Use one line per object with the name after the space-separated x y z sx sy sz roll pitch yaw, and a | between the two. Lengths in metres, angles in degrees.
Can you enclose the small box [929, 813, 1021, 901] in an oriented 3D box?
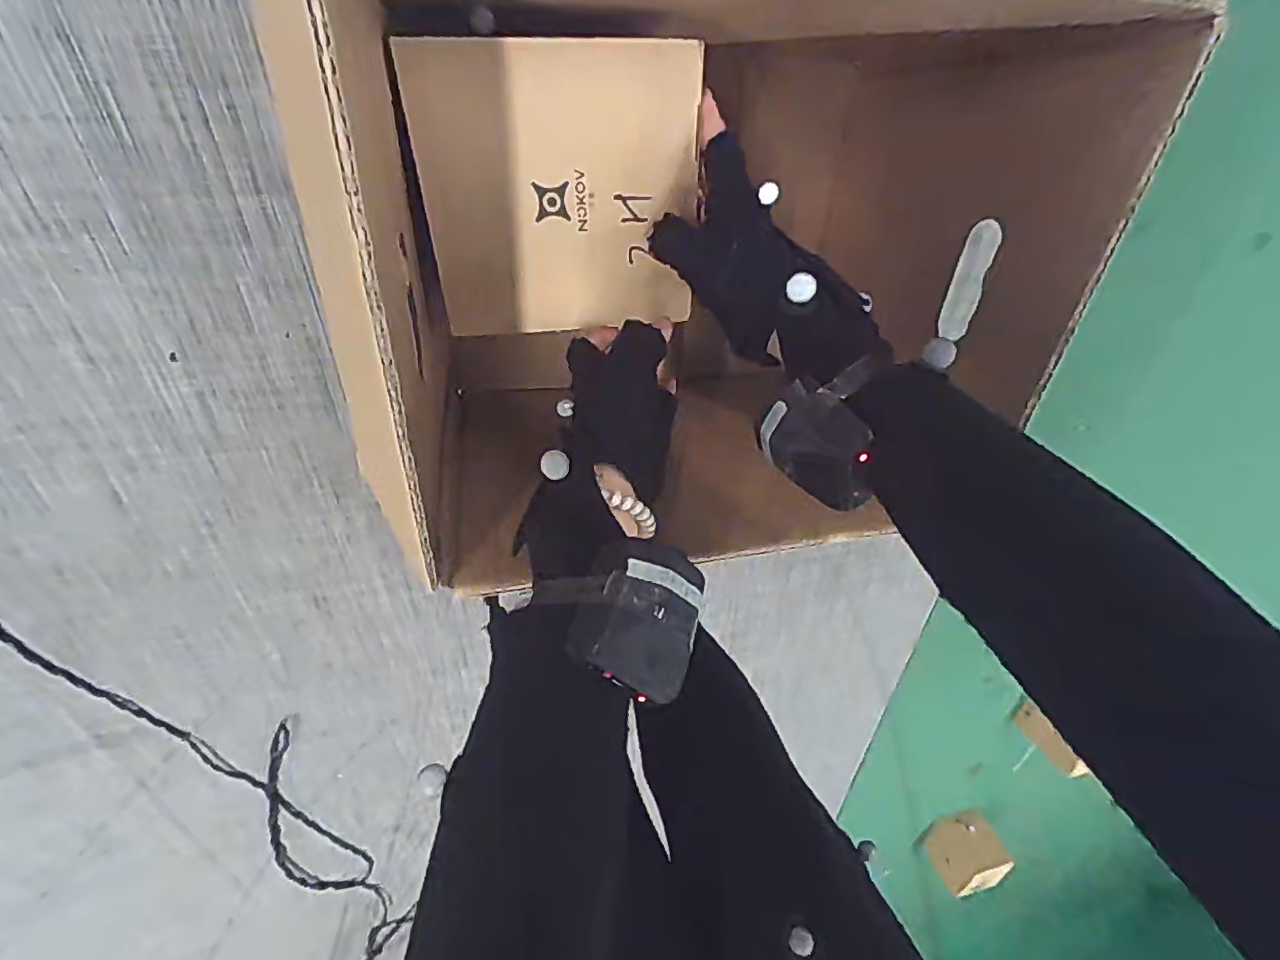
1.090 1.237 1.779 0.168 0.176 0.179 -7 124 -14 | small box
